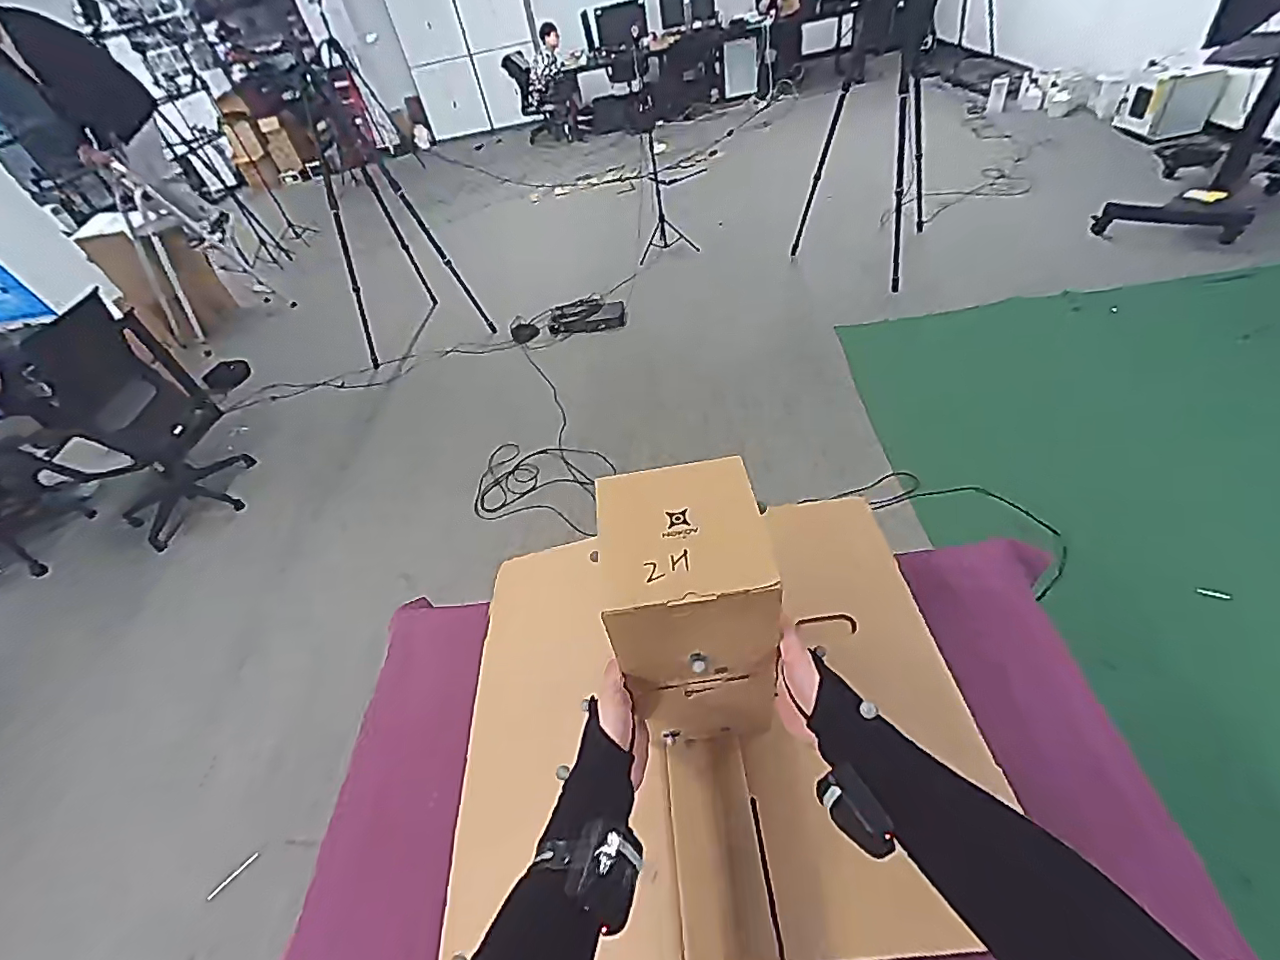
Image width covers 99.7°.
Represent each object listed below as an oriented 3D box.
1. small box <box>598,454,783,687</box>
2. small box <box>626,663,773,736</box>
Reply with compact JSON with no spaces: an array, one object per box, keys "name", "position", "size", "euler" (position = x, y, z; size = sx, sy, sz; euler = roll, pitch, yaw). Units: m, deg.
[{"name":"small box","position":[0.049,0.099,0.589],"size":[0.168,0.176,0.179],"euler":[-9,46,3]},{"name":"small box","position":[0.072,0.215,0.704],"size":[0.168,0.176,0.179],"euler":[-8,44,2]}]
